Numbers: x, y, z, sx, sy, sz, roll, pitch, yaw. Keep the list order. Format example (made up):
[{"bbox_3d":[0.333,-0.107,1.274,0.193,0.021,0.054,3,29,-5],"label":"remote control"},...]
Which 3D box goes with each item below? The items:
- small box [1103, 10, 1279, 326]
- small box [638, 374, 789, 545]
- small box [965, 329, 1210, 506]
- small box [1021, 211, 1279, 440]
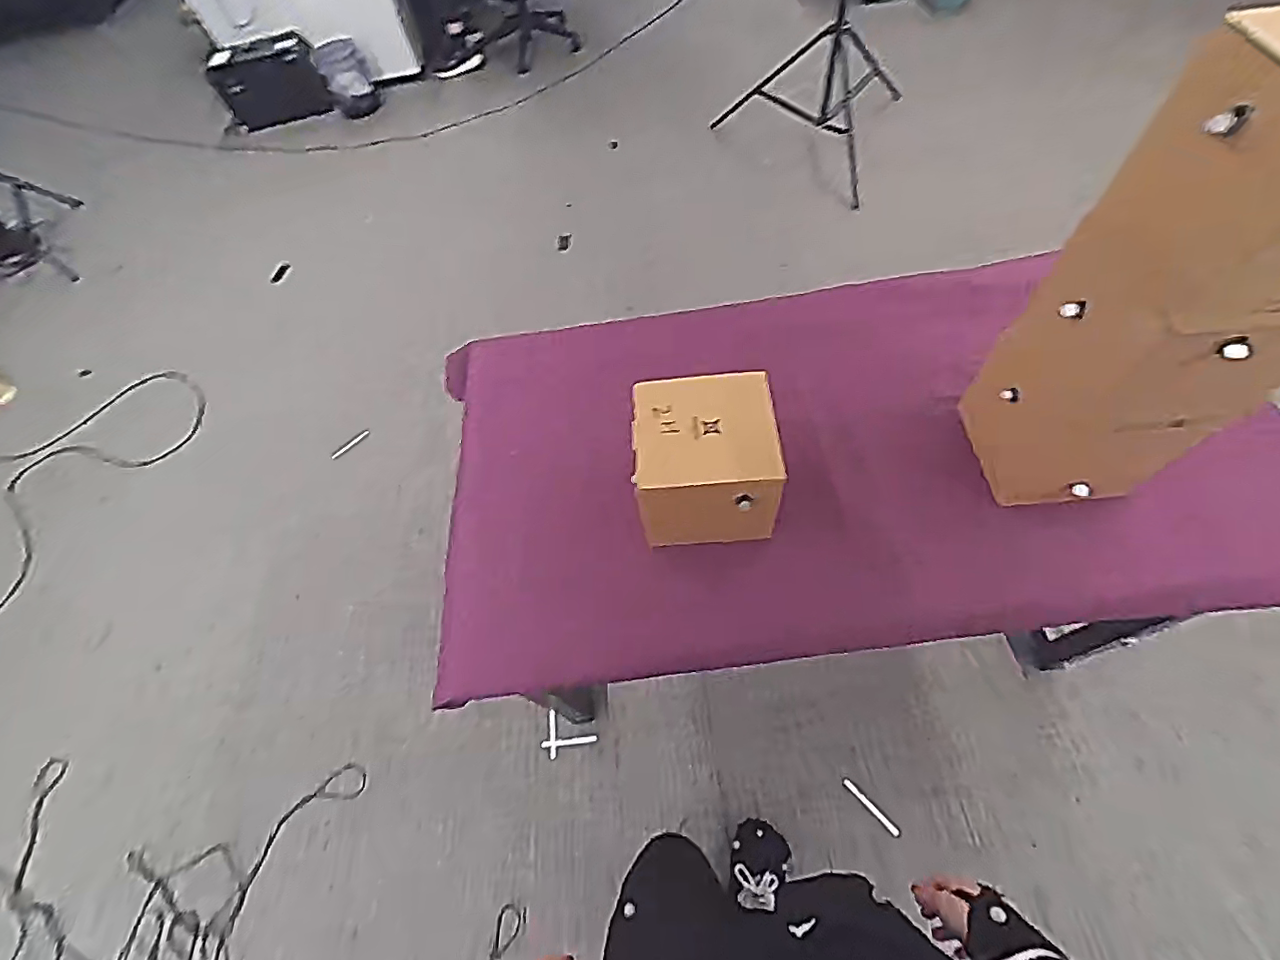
[{"bbox_3d":[0.529,-0.238,0.424,0.168,0.176,0.179,-4,59,6],"label":"small box"},{"bbox_3d":[0.092,-0.022,0.735,0.179,0.176,0.168,-5,59,5],"label":"small box"},{"bbox_3d":[0.565,-0.083,0.711,0.168,0.176,0.179,-5,60,5],"label":"small box"},{"bbox_3d":[0.547,-0.162,0.568,0.168,0.176,0.179,-3,59,6],"label":"small box"}]
